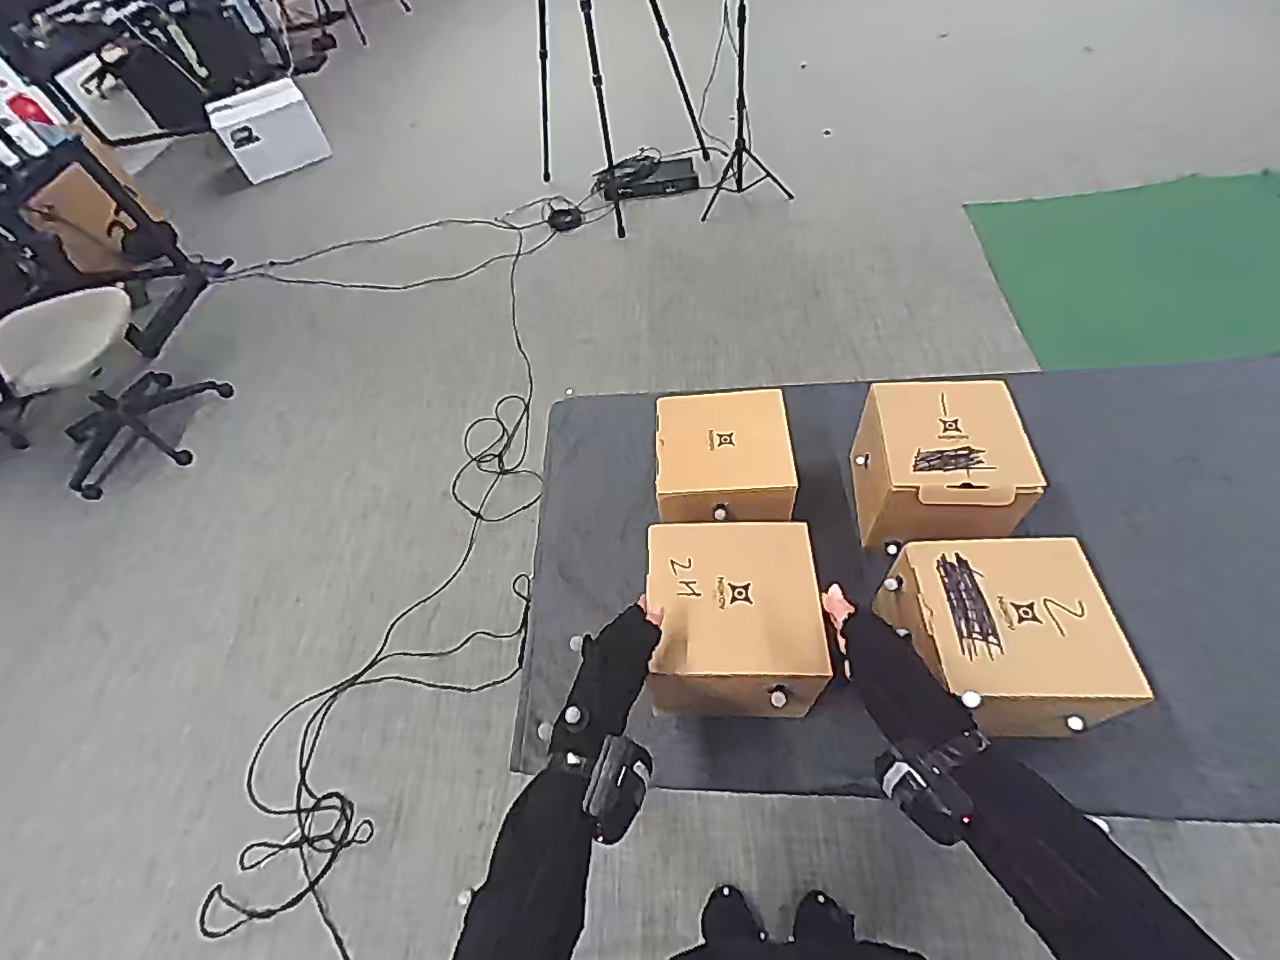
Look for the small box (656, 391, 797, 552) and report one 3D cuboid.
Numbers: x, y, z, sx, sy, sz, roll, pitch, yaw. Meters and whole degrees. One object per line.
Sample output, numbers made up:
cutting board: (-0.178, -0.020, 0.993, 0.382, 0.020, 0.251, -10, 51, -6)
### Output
small box: (0.119, -0.006, 0.779, 0.179, 0.176, 0.168, -4, 55, 8)
